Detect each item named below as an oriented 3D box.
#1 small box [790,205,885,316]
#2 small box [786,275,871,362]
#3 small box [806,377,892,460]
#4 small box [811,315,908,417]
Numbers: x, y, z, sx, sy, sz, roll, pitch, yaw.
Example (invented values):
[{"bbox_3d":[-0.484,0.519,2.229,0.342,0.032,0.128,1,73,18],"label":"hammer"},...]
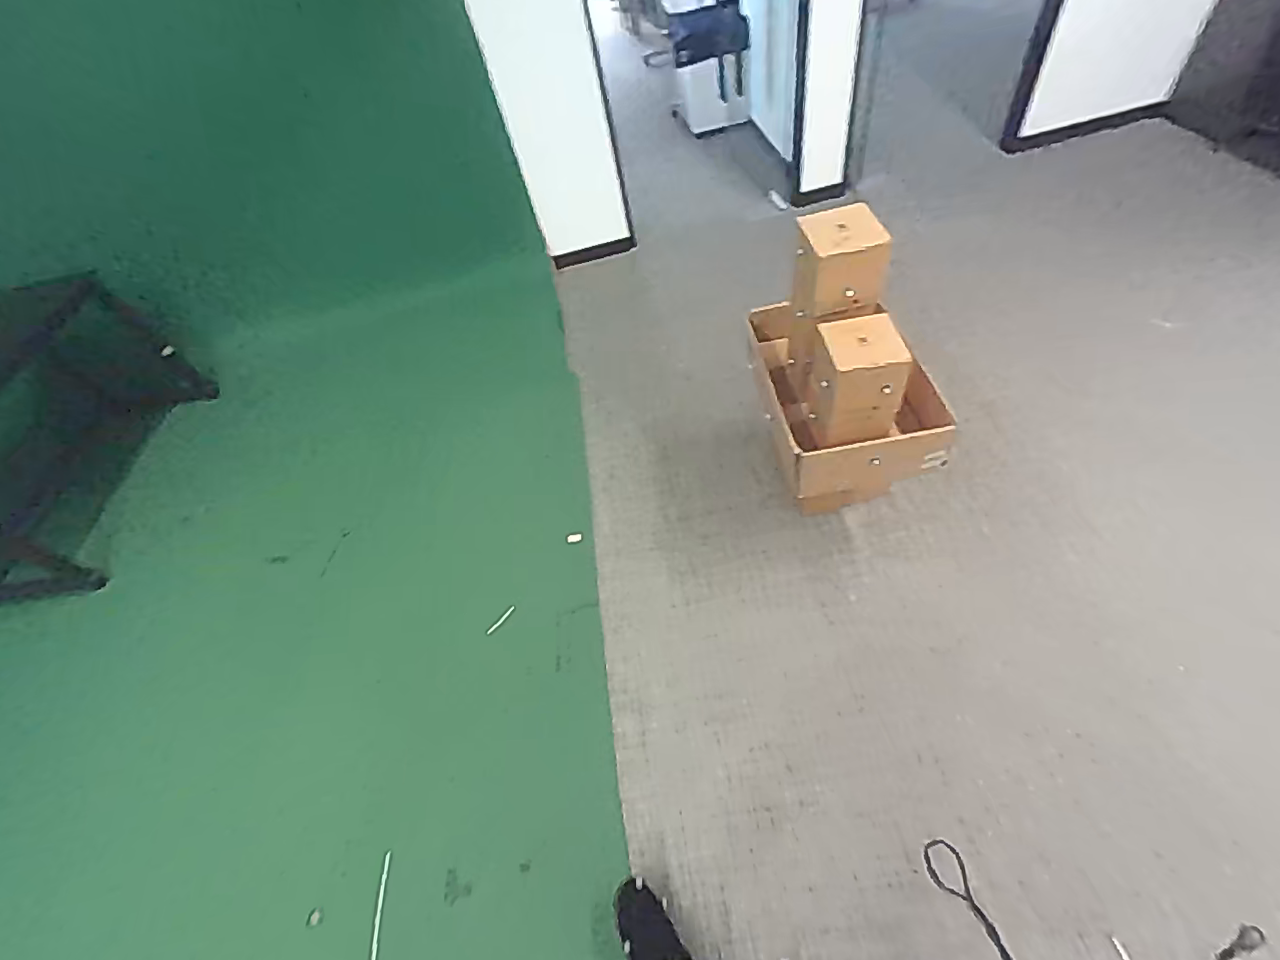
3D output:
[{"bbox_3d":[0.469,-0.531,1.317,0.168,0.176,0.179,-13,54,4],"label":"small box"},{"bbox_3d":[0.498,-0.448,1.458,0.168,0.176,0.179,-11,54,5],"label":"small box"},{"bbox_3d":[0.546,-0.170,1.436,0.168,0.176,0.179,-10,50,5],"label":"small box"},{"bbox_3d":[0.521,-0.267,1.307,0.168,0.176,0.179,-9,51,6],"label":"small box"}]
